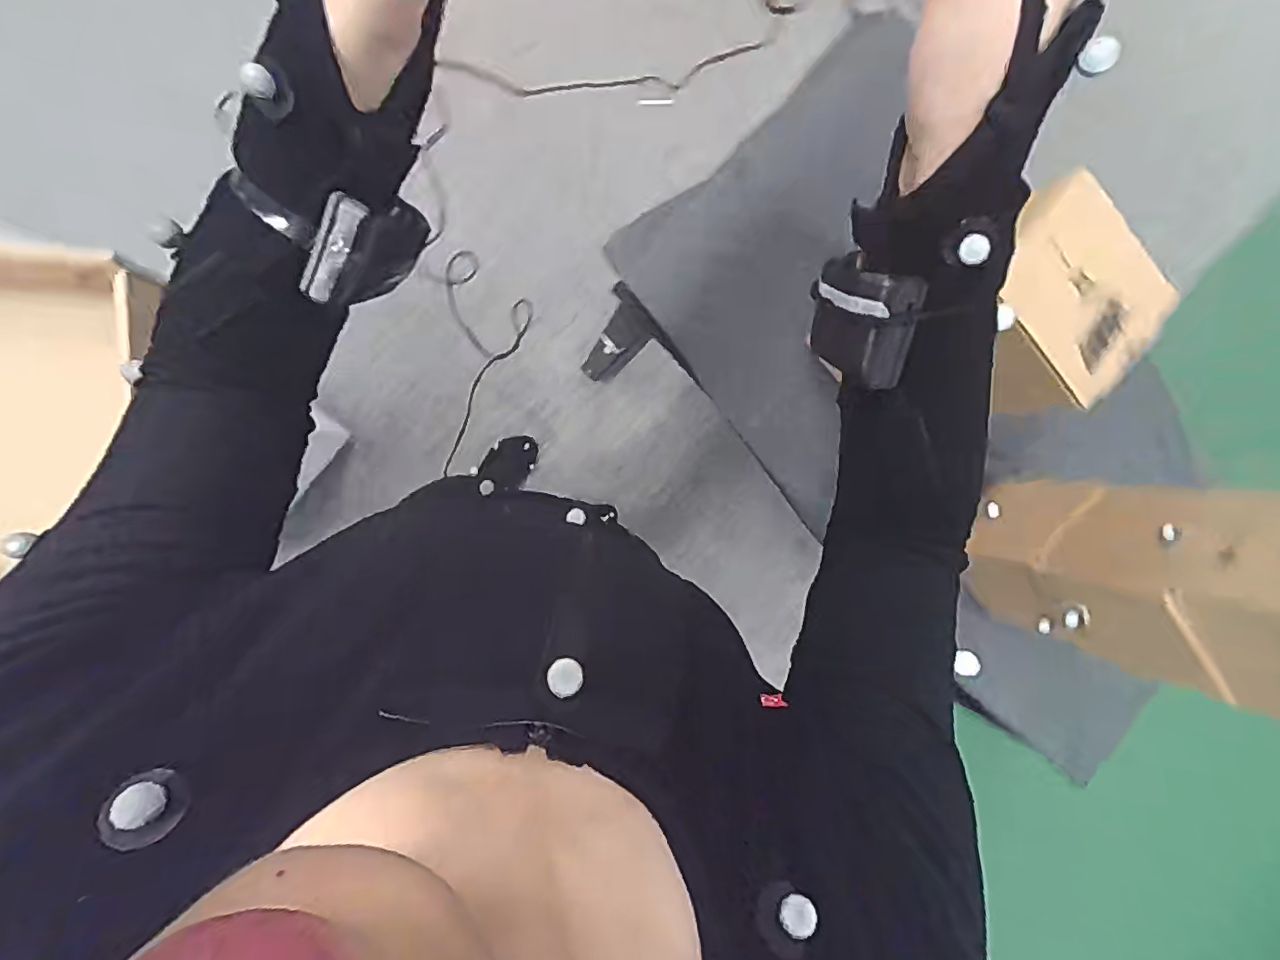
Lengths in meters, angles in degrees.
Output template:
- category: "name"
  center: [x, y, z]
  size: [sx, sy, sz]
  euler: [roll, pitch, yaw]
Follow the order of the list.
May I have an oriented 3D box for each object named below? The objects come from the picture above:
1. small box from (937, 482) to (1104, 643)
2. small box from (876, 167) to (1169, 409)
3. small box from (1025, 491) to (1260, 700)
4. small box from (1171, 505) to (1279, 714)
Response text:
- category: "small box"
  center: [0.615, 0.116, 0.839]
  size: [0.168, 0.176, 0.179]
  euler: [-42, 100, -8]
- category: "small box"
  center: [0.416, -0.196, 0.611]
  size: [0.168, 0.176, 0.179]
  euler: [-46, 101, -6]
- category: "small box"
  center: [0.645, 0.128, 0.680]
  size: [0.179, 0.176, 0.168]
  euler: [-40, 99, -7]
- category: "small box"
  center: [0.683, 0.134, 0.521]
  size: [0.168, 0.176, 0.179]
  euler: [-38, 98, -8]
